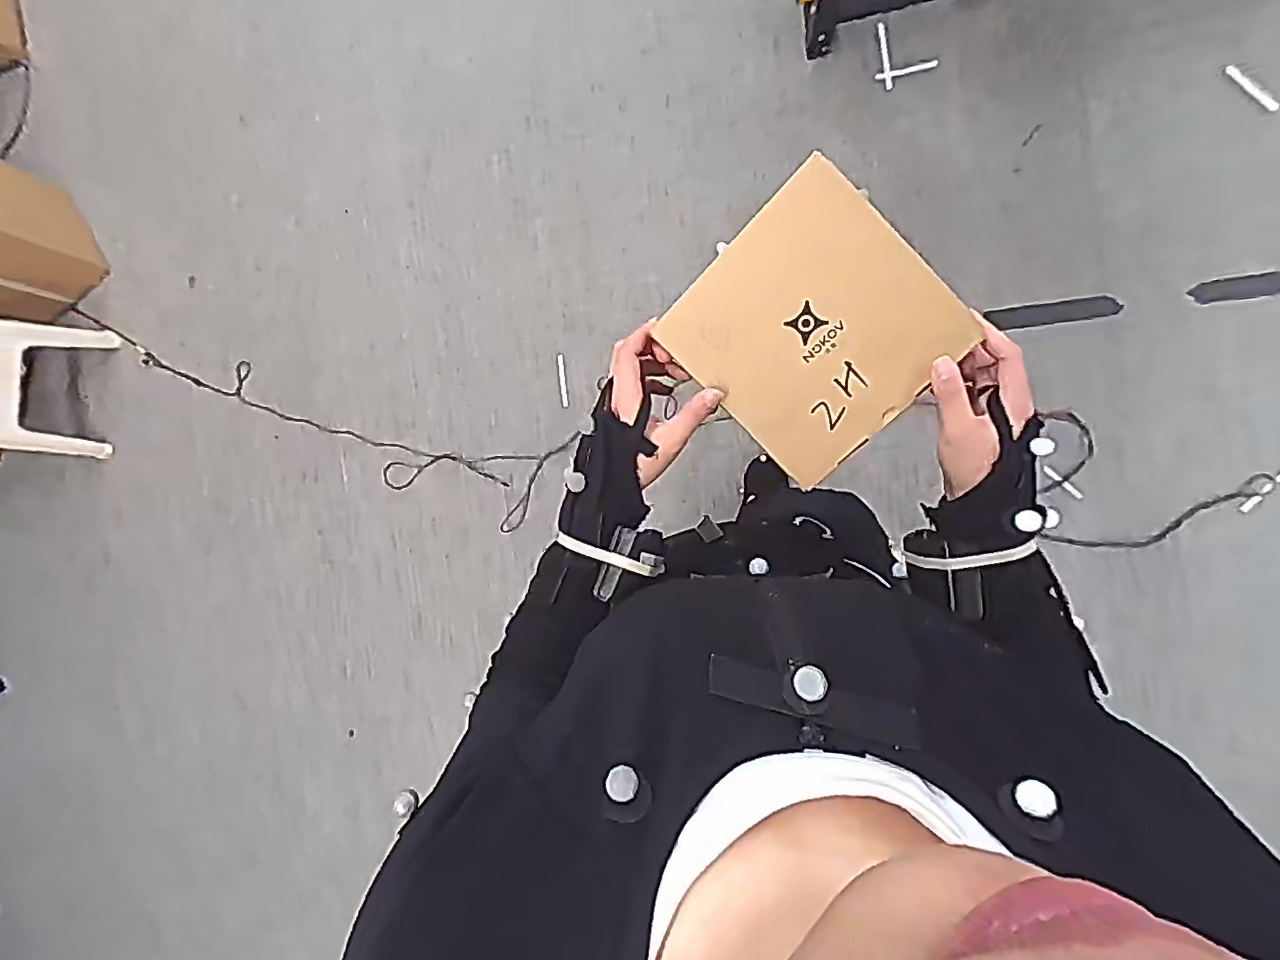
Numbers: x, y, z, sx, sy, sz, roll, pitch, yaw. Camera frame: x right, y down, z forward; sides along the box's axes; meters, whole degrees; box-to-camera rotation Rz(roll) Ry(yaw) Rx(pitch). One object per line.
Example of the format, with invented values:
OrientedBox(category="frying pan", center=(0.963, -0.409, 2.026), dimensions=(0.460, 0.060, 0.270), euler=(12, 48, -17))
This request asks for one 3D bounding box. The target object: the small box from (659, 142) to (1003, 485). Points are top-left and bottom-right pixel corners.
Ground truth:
OrientedBox(category="small box", center=(0.139, -0.126, 0.453), dimensions=(0.179, 0.176, 0.168), euler=(45, 107, -4))
